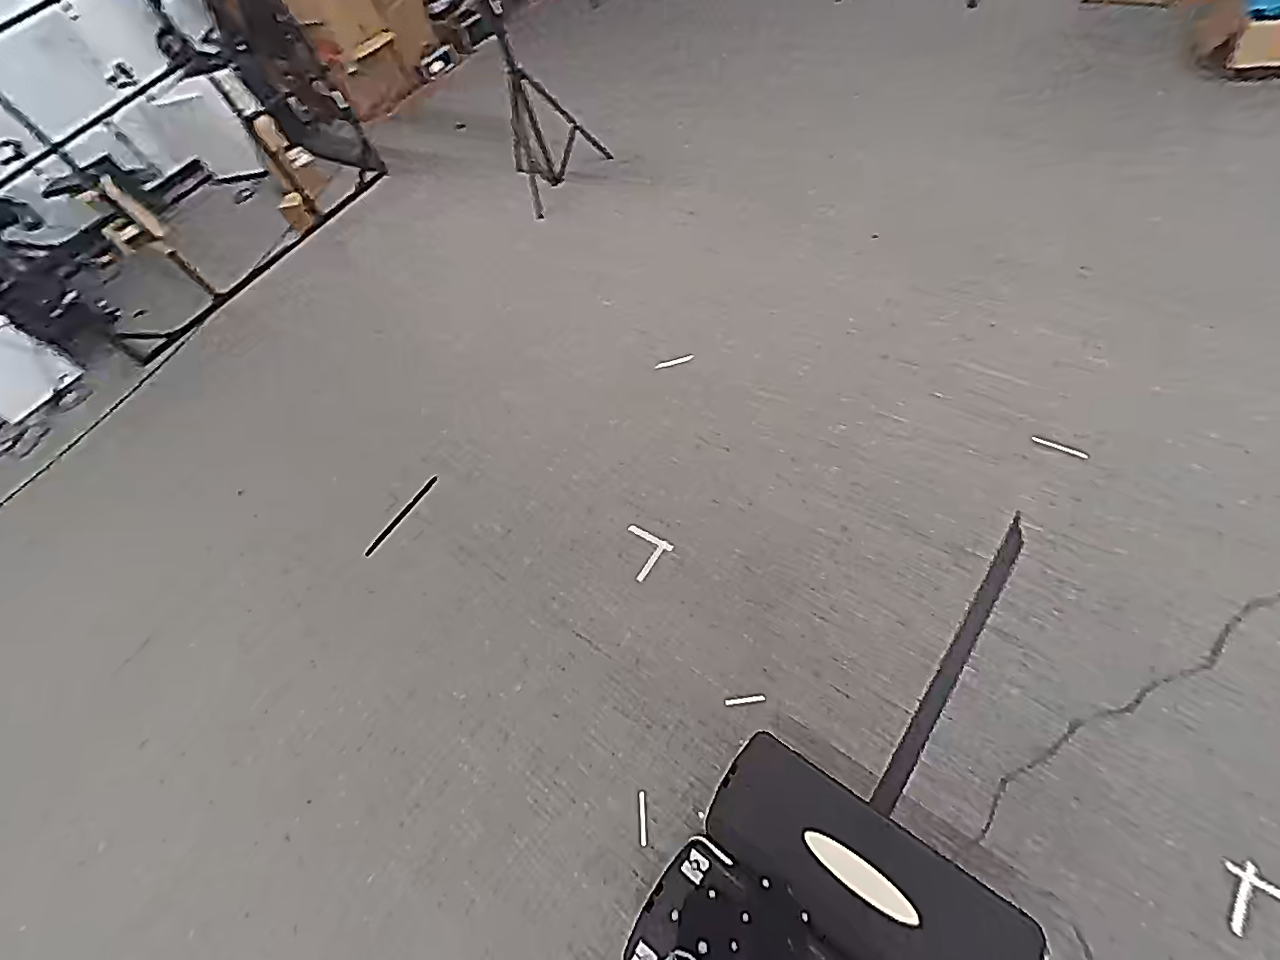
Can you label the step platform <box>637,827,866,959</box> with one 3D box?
[{"bbox_3d":[0.326,1.041,1.071,0.684,0.204,0.286,26,68,30],"label":"step platform"}]
